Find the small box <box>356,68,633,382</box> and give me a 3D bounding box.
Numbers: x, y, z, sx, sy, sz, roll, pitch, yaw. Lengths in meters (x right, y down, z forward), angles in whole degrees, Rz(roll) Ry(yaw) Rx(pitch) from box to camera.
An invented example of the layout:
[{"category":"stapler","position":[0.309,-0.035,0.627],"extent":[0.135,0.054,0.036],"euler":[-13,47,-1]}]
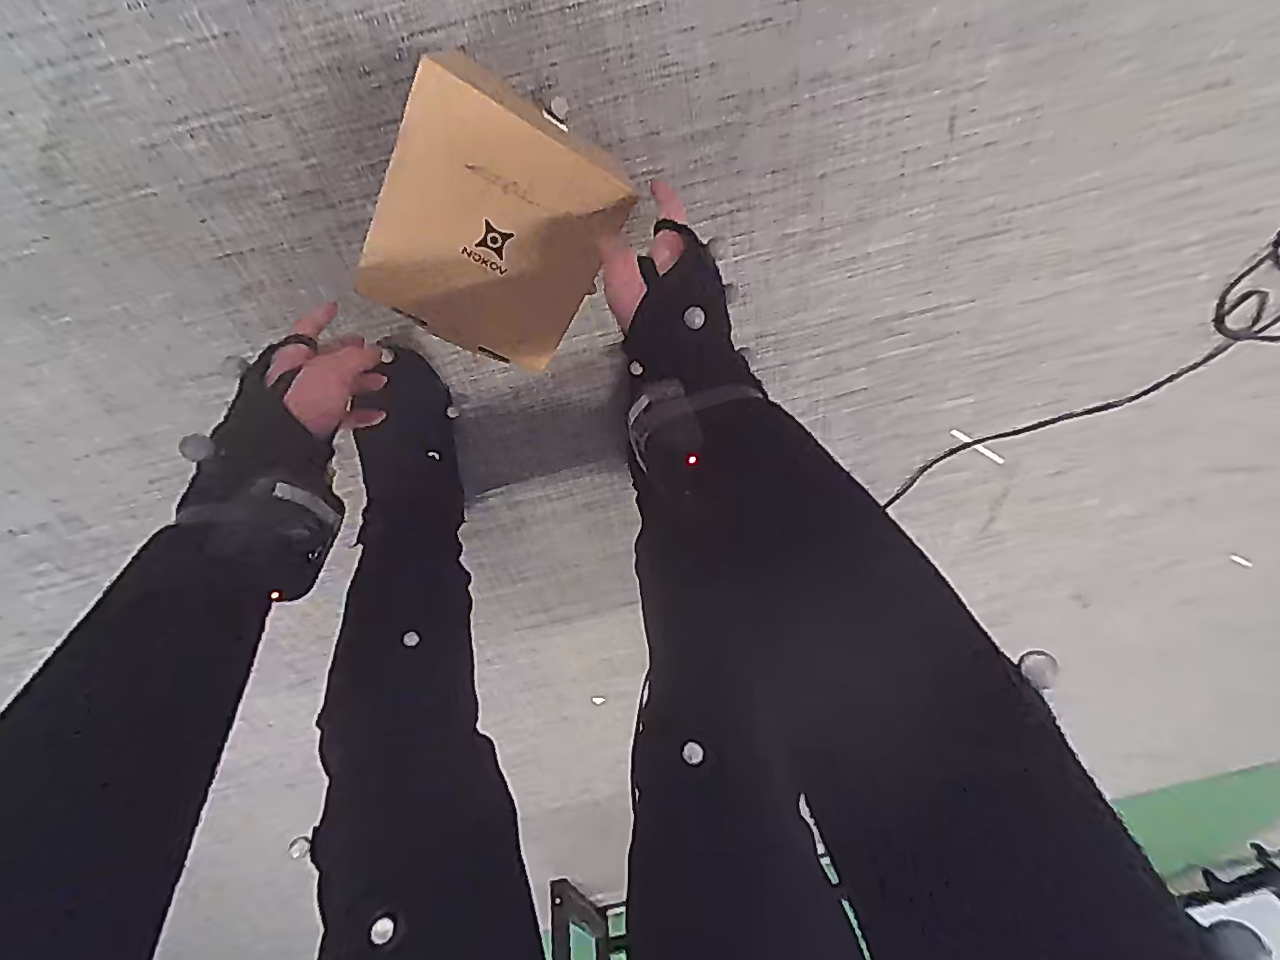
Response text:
[{"category":"small box","position":[-0.126,-0.225,0.484],"extent":[0.168,0.176,0.179],"euler":[21,121,-26]}]
